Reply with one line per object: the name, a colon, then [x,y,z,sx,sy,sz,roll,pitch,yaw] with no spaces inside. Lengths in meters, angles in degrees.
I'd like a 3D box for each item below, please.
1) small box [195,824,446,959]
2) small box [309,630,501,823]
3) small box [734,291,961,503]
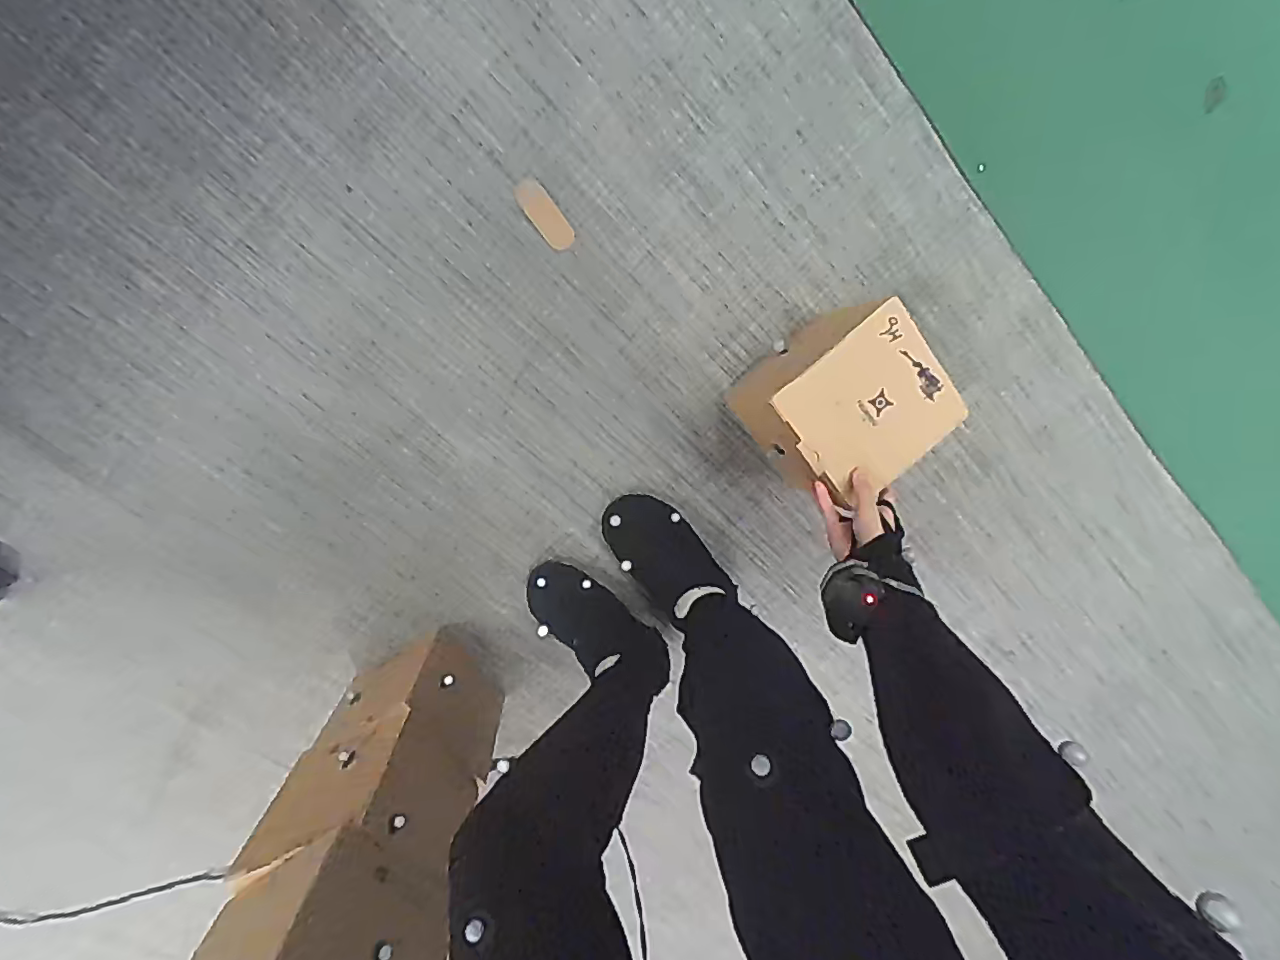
small box: [-0.303,0.464,0.495,0.179,0.176,0.168,-36,108,10]
small box: [-0.330,0.349,0.799,0.168,0.176,0.179,-29,111,7]
small box: [0.235,-0.103,0.666,0.179,0.176,0.168,-39,106,1]
